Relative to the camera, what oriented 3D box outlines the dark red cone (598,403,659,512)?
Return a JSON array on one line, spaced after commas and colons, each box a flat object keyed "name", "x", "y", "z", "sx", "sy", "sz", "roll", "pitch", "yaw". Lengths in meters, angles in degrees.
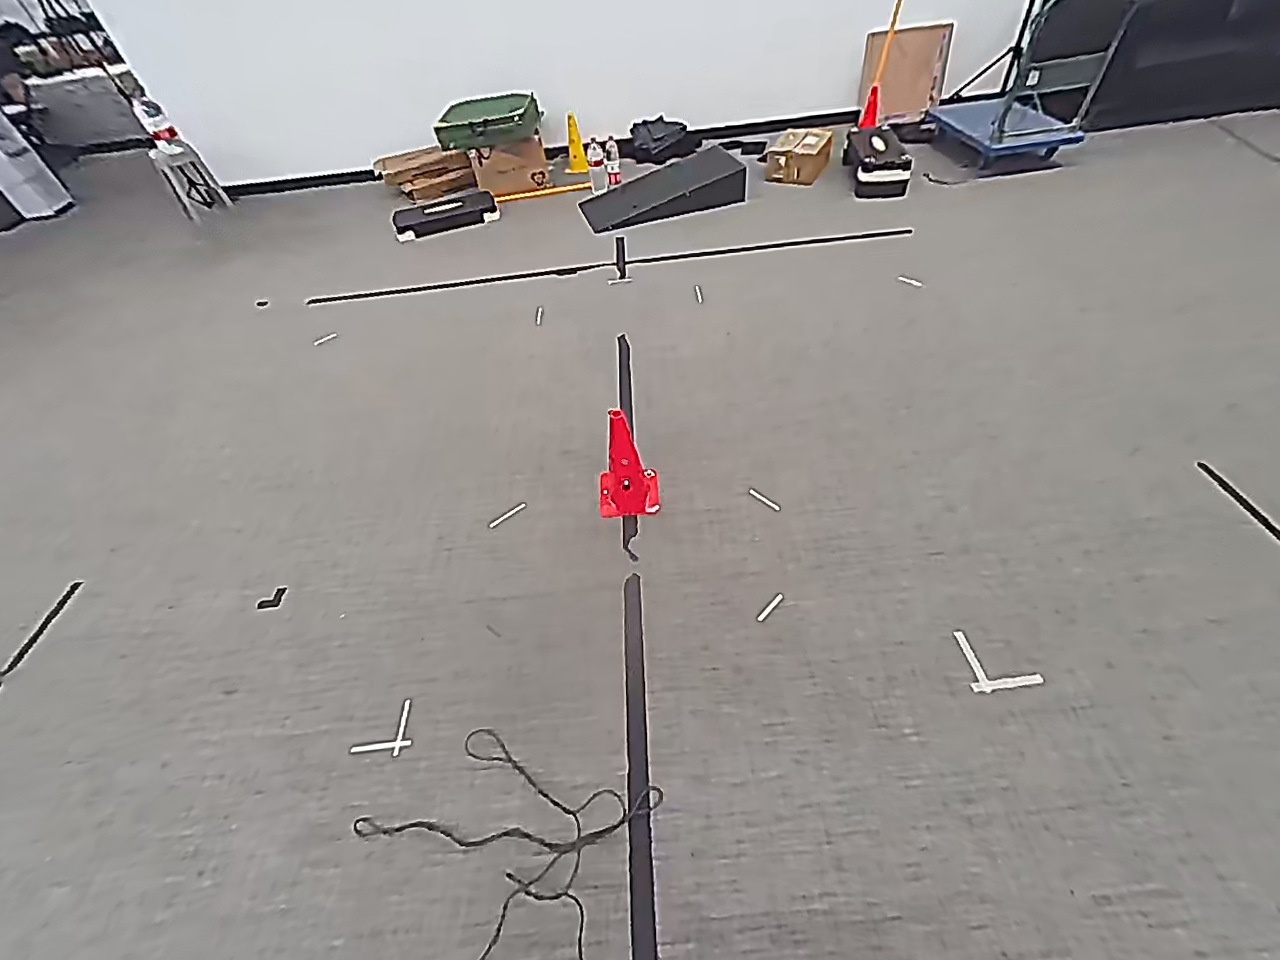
[{"name": "dark red cone", "x": -0.059, "y": -0.084, "z": 1.700, "sx": 0.201, "sy": 0.394, "sz": 0.202, "roll": -7, "pitch": 48, "yaw": 2}]
